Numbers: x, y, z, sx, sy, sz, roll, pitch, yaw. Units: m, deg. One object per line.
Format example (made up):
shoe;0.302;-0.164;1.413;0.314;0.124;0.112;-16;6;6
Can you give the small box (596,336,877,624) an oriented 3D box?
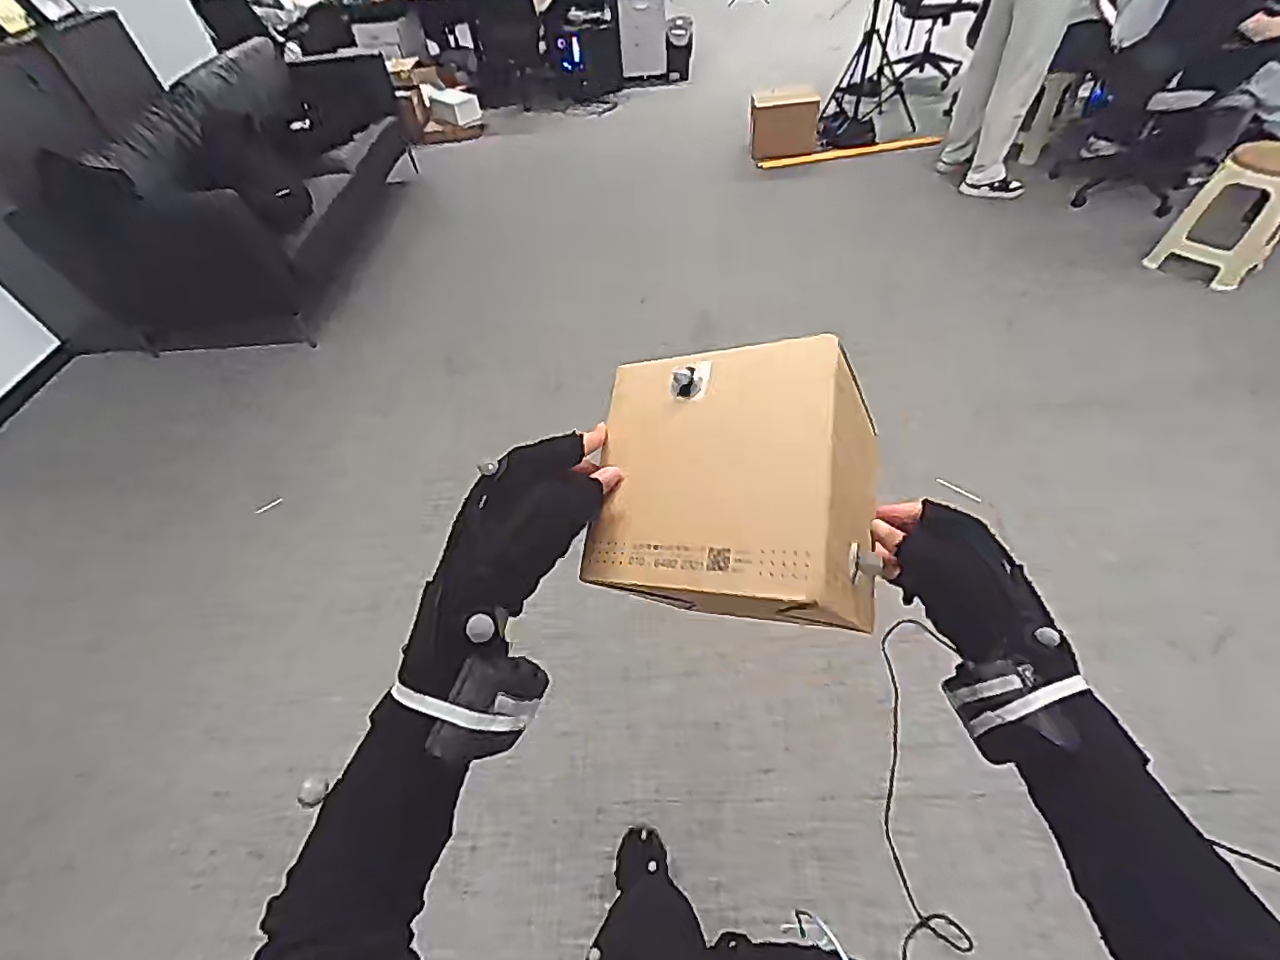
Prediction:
small box;0.083;0.017;0.430;0.168;0.179;0.176;-4;68;33
